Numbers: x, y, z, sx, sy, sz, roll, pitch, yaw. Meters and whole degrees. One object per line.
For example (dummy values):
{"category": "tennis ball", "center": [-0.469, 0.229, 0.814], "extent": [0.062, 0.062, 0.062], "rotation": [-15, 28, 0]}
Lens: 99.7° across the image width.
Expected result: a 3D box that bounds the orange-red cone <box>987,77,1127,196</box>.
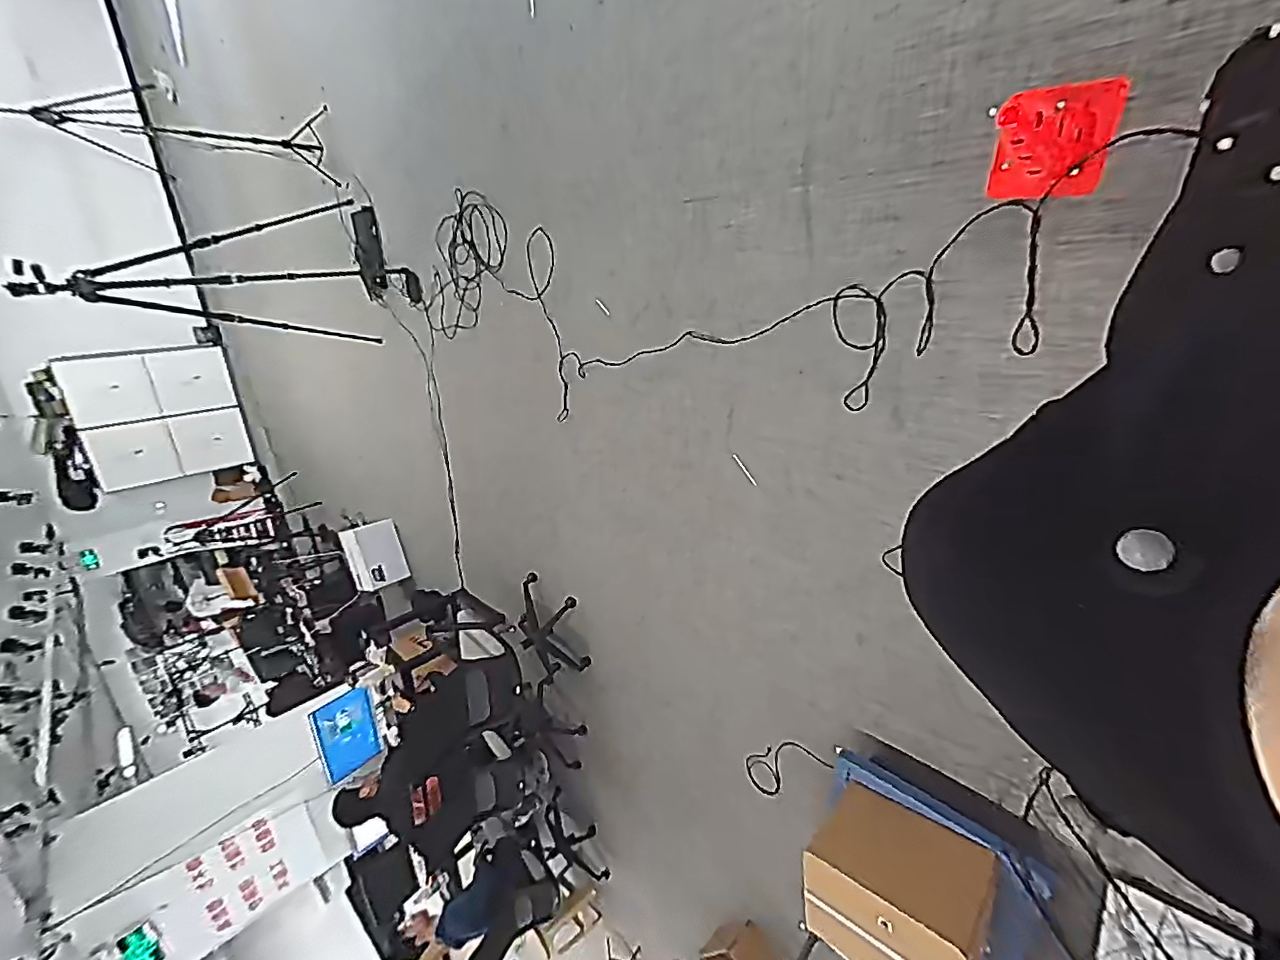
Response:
{"category": "orange-red cone", "center": [0.723, -0.647, 0.989], "extent": [0.198, 0.360, 0.199], "rotation": [22, 120, 38]}
